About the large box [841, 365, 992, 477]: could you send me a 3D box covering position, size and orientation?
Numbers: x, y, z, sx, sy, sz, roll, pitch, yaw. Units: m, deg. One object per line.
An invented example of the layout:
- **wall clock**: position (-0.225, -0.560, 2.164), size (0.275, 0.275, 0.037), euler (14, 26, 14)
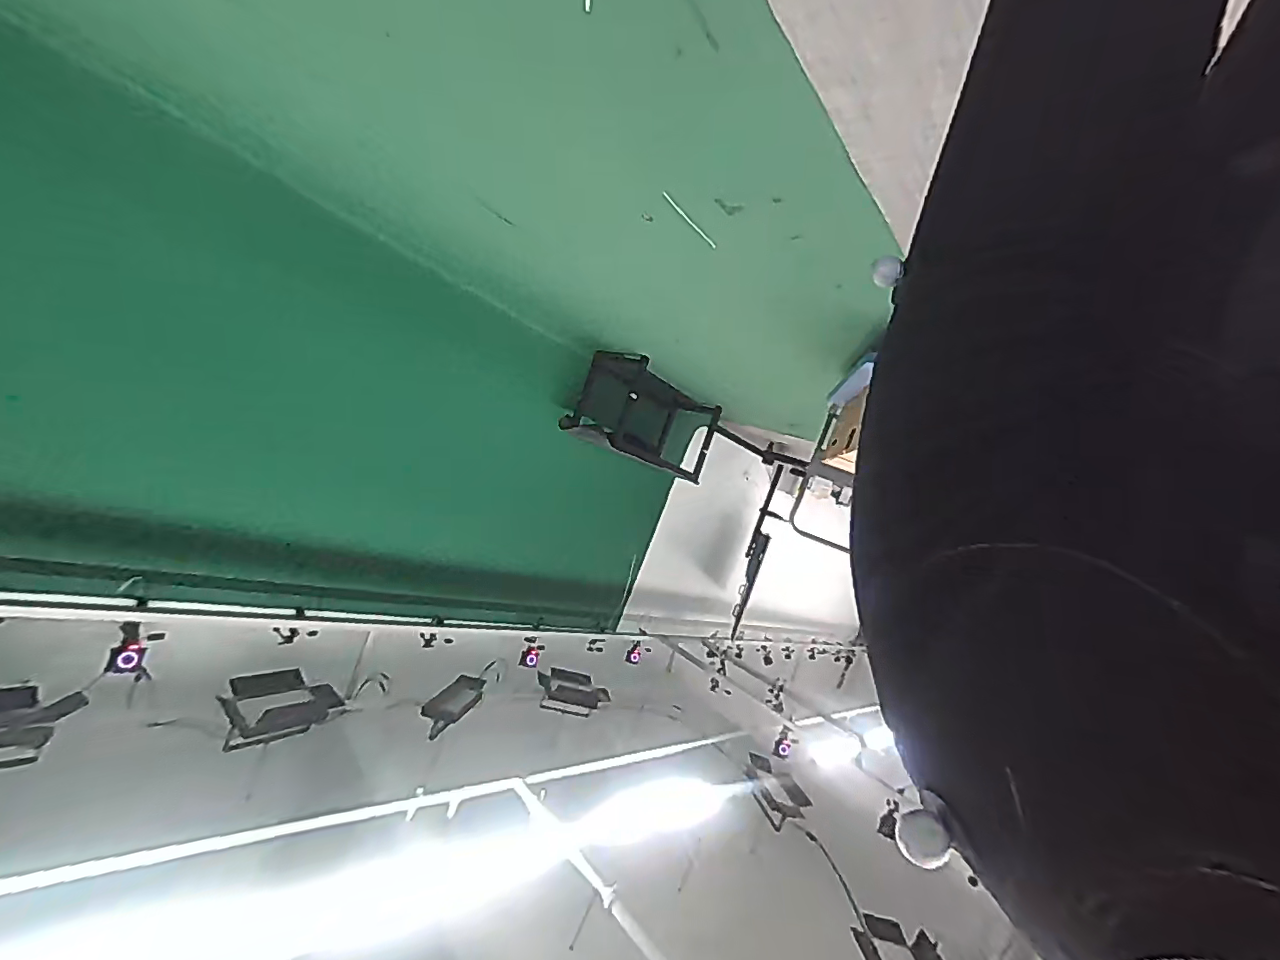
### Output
- **large box**: position (1.079, -0.228, 2.153), size (0.408, 0.320, 0.320), euler (20, -179, 7)
